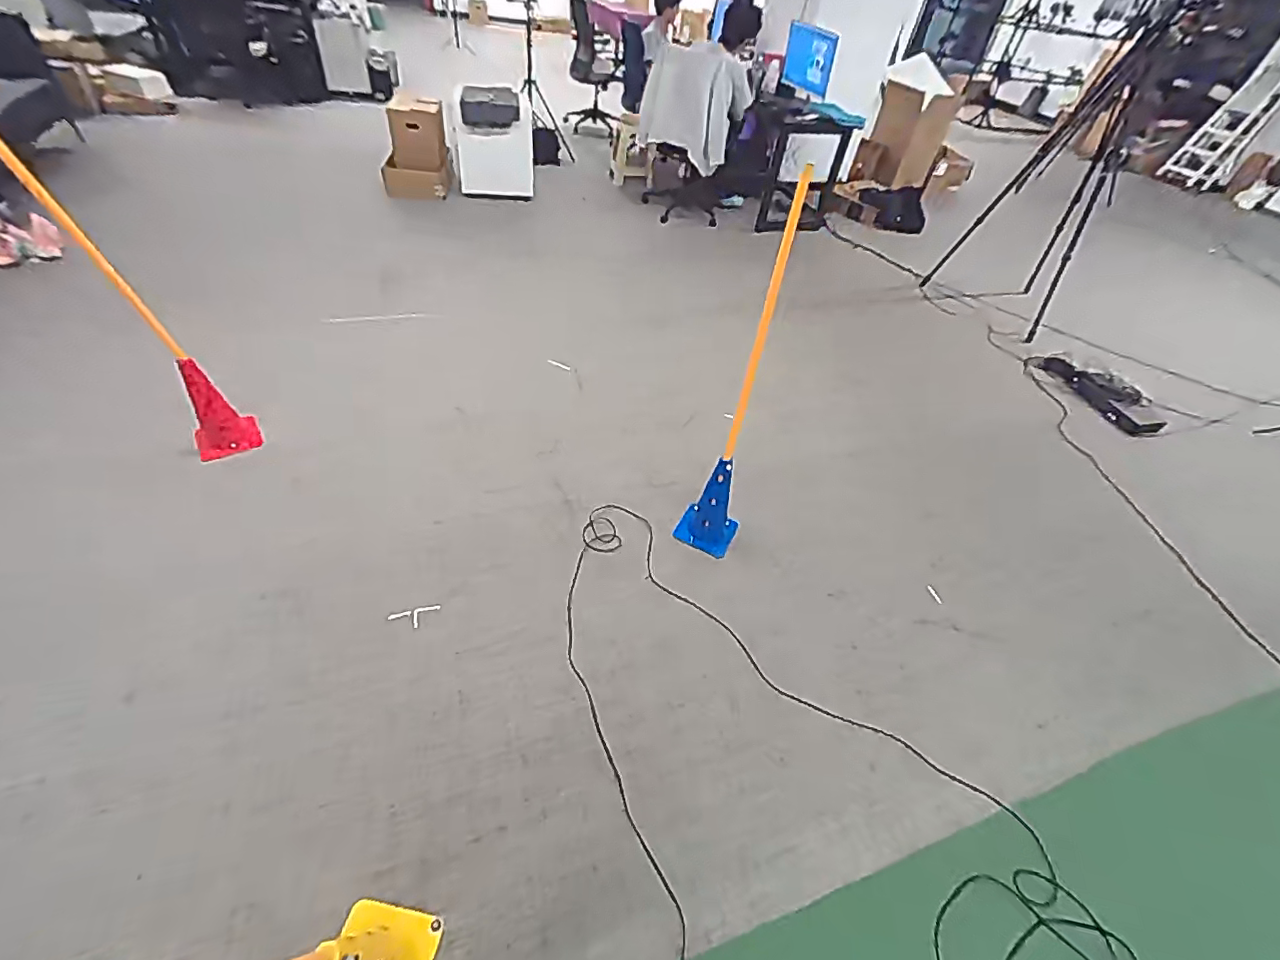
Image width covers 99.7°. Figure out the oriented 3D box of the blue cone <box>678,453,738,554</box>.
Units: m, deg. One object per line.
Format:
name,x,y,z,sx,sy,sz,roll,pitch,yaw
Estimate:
blue cone,0.266,0.059,1.872,0.192,0.380,0.193,23,44,14
